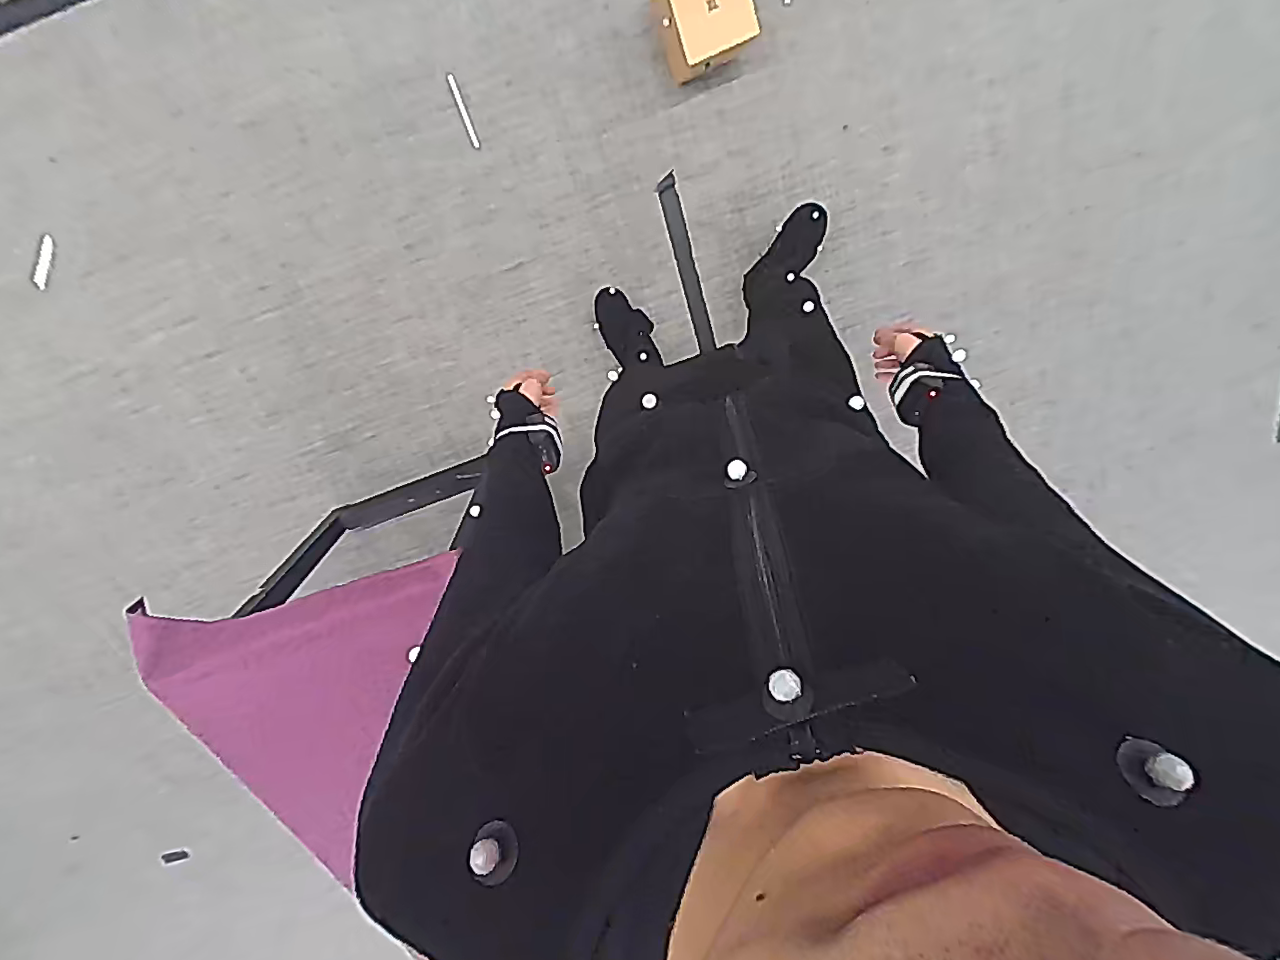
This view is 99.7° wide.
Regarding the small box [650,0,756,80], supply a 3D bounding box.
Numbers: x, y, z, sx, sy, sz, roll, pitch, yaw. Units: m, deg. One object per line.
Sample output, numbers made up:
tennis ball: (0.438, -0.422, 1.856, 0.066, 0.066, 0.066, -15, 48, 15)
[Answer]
small box: (0.134, -1.014, 1.183, 0.168, 0.176, 0.179, -23, 114, 3)
